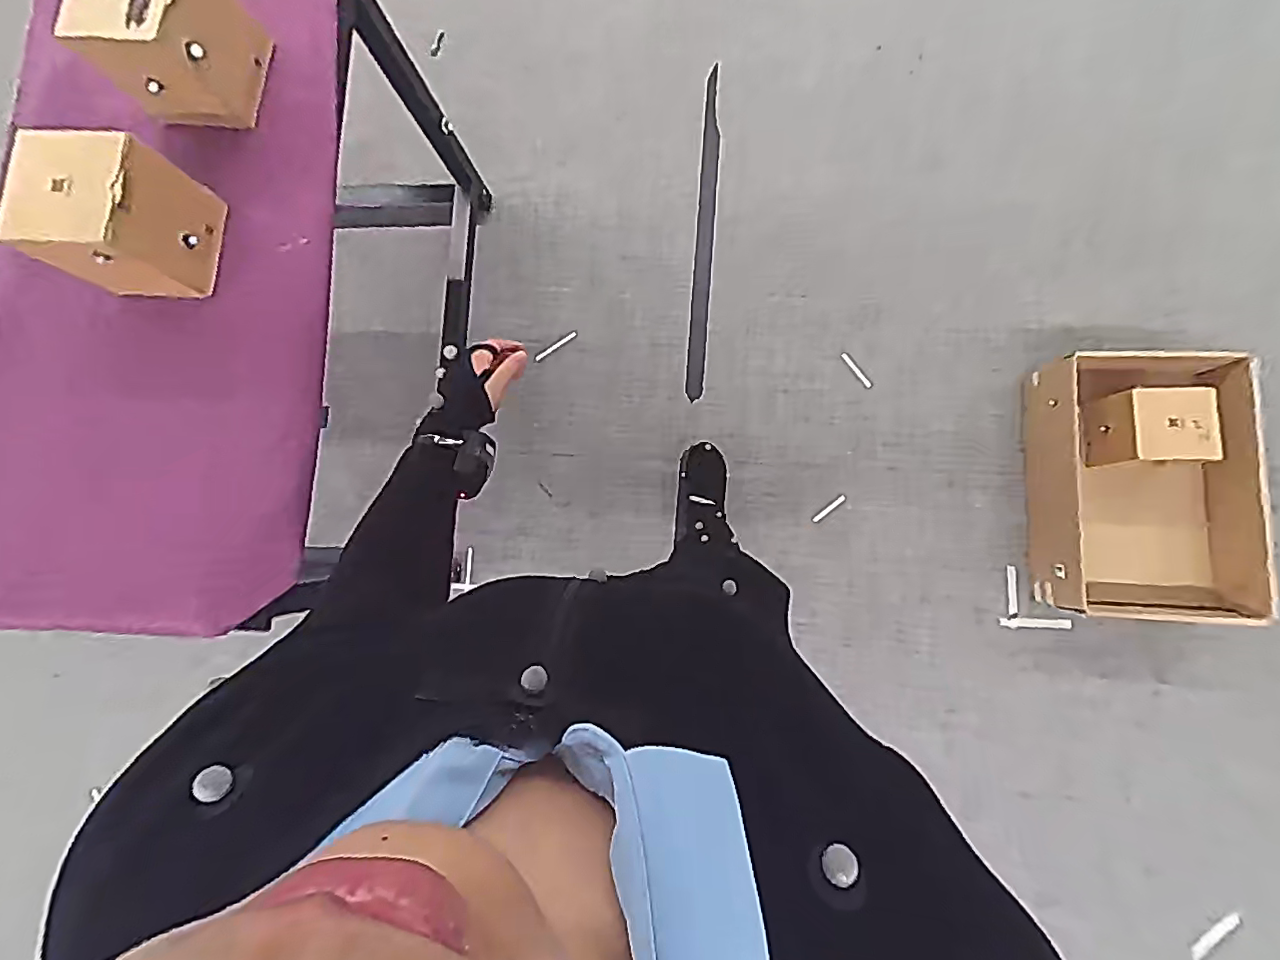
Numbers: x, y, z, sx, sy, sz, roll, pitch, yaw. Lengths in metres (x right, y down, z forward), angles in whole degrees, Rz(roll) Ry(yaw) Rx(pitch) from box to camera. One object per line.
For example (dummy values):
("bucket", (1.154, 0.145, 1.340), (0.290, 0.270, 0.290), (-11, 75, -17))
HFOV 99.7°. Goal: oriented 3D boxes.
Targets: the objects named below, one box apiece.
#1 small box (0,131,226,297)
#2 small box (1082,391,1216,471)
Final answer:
("small box", (-0.789, -0.392, 0.820), (0.179, 0.176, 0.168), (4, 84, 5))
("small box", (1.208, -0.112, 1.302), (0.179, 0.176, 0.168), (0, 84, 5))
